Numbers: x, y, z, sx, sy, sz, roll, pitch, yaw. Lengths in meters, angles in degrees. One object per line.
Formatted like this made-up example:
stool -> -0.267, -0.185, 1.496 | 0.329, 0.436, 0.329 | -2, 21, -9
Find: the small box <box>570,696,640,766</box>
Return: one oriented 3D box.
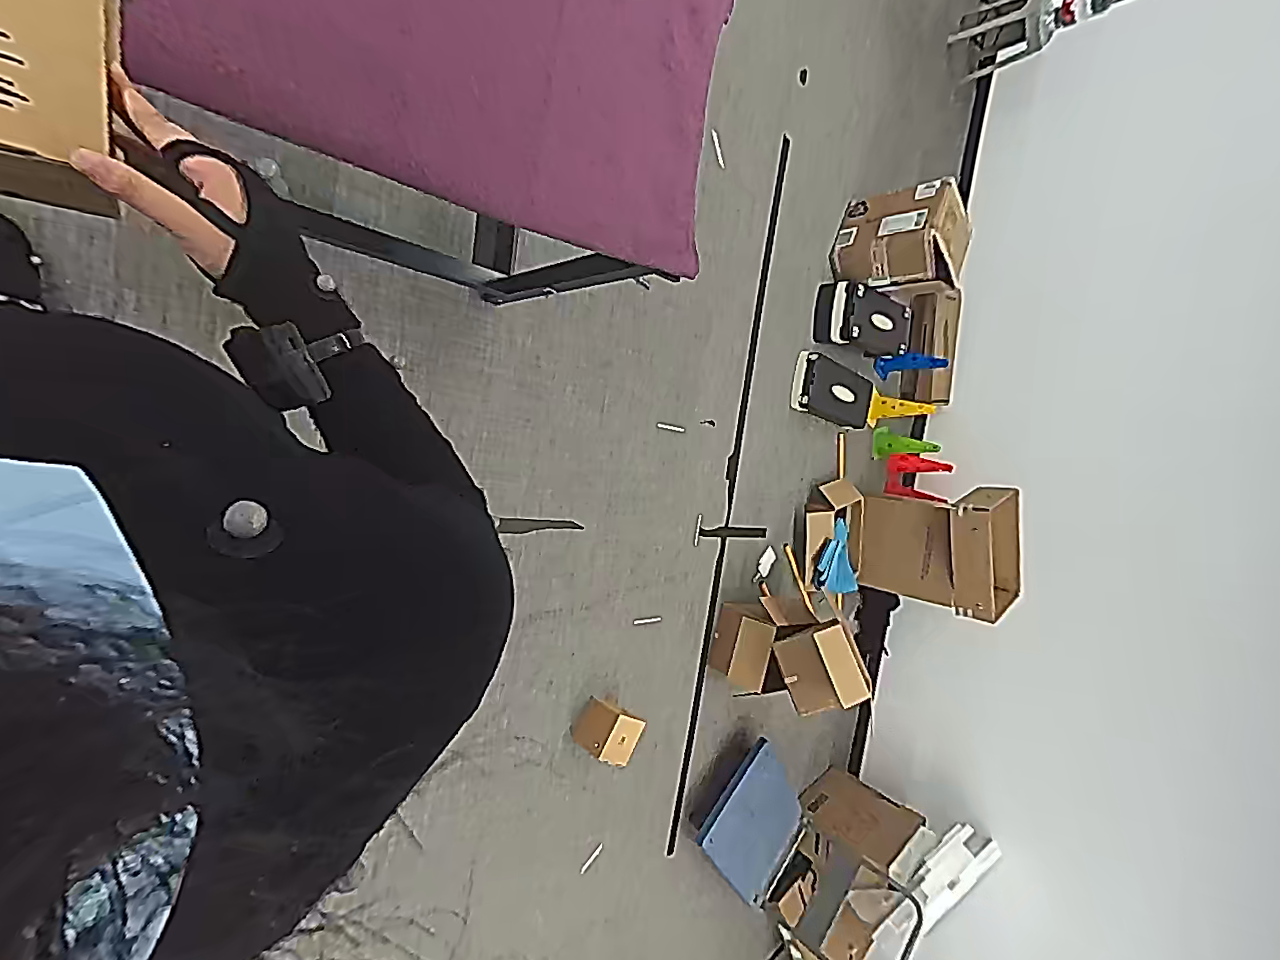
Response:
small box -> -0.137, 0.954, 2.062 | 0.168, 0.176, 0.179 | 39, 73, -41
